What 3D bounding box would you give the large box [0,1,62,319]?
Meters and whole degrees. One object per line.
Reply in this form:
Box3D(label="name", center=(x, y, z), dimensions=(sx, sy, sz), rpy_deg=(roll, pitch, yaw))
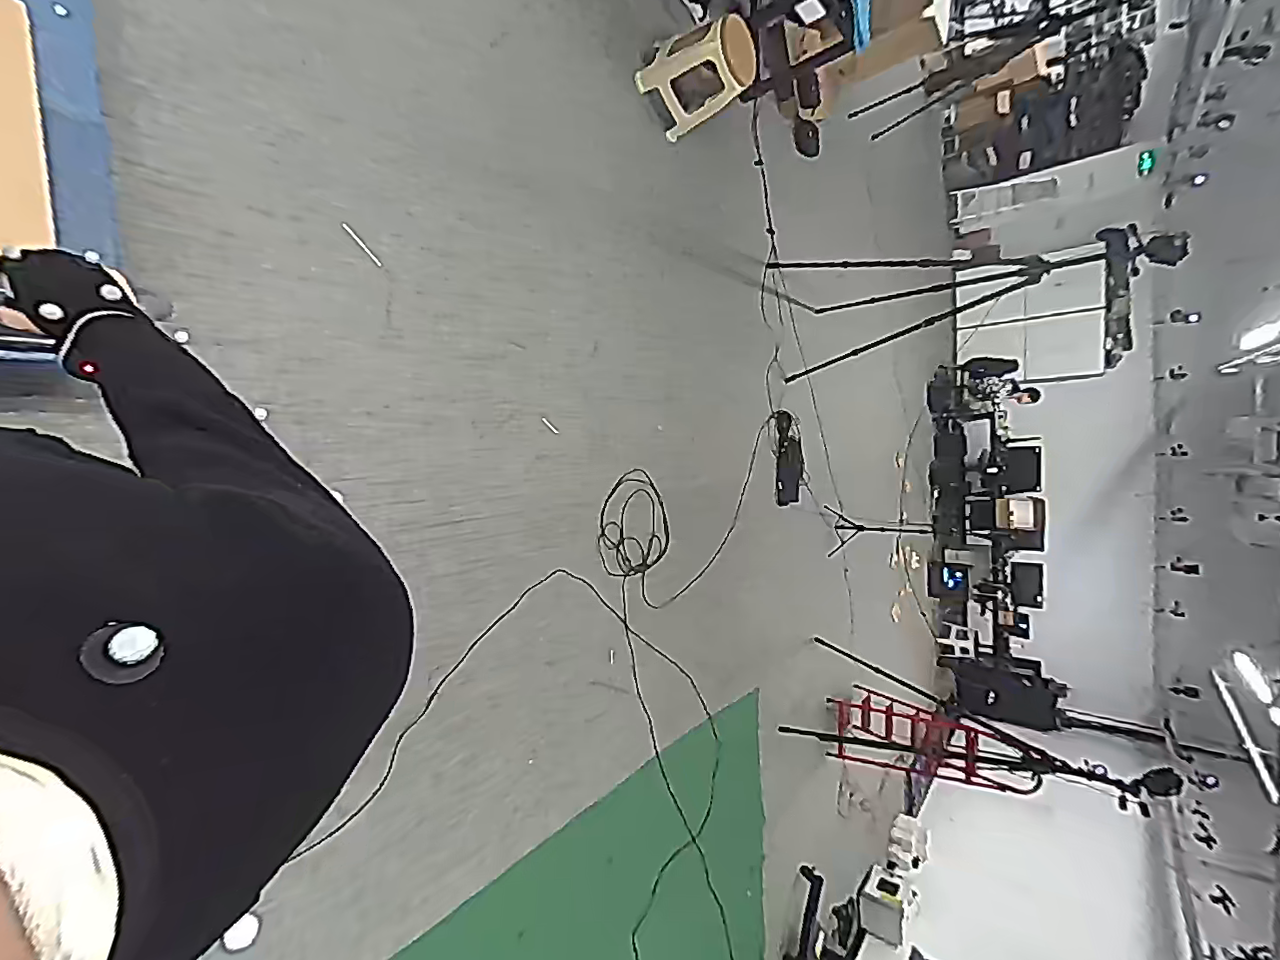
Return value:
Box3D(label="large box", center=(-1.114, -0.481, 0.794), dimensions=(0.320, 0.320, 0.408), rpy_deg=(-9, 95, -50))
